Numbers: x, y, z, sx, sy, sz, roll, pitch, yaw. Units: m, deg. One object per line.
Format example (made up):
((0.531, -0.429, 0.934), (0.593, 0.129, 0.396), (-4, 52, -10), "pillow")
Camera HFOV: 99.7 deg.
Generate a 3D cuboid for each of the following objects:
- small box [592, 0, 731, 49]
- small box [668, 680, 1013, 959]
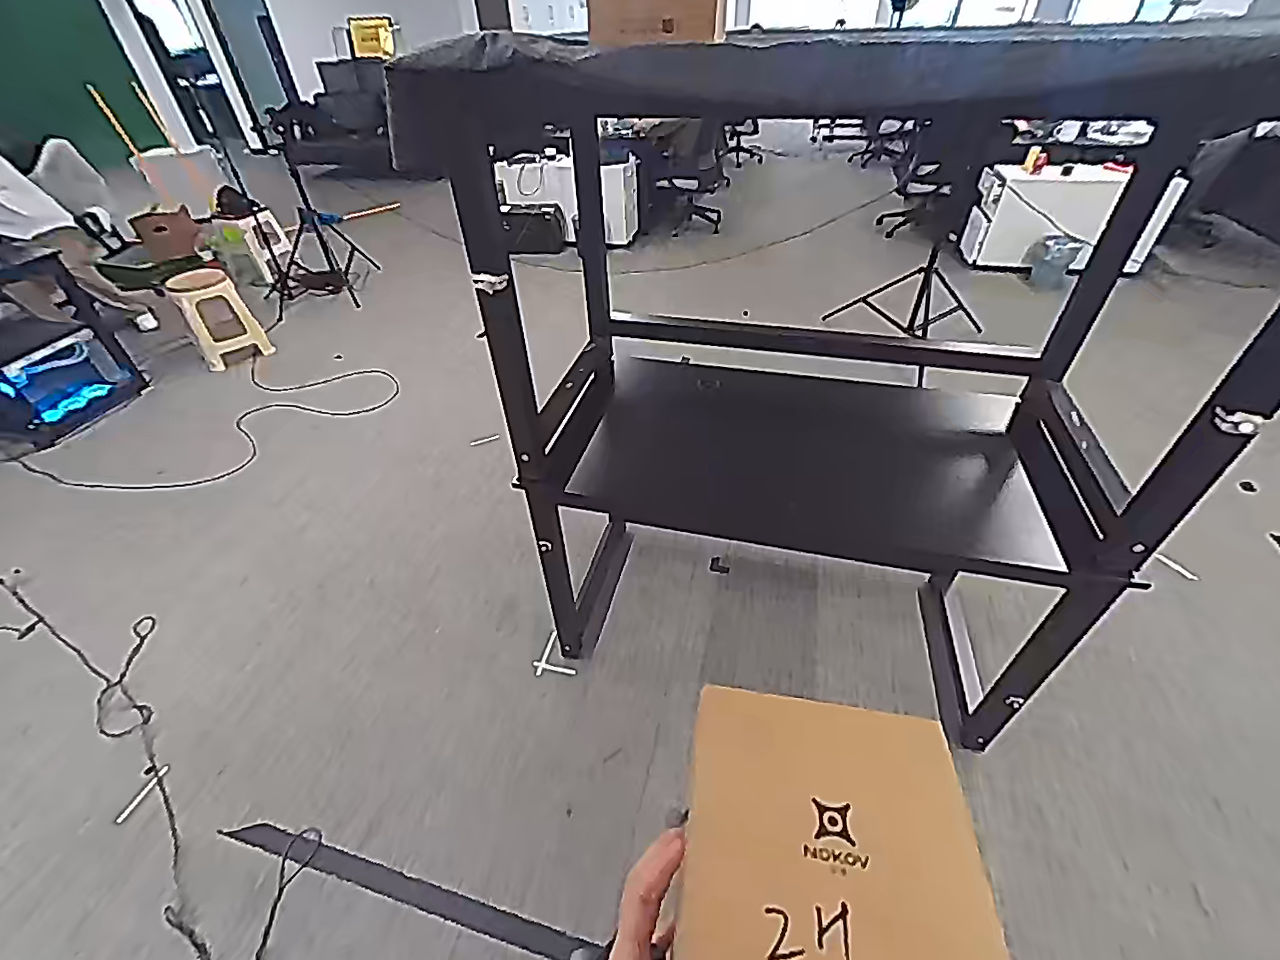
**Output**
((0.033, -0.667, 0.695), (0.168, 0.176, 0.179), (6, 41, 8), "small box")
((0.109, 0.267, 0.358), (0.168, 0.176, 0.179), (6, 37, 8), "small box")
